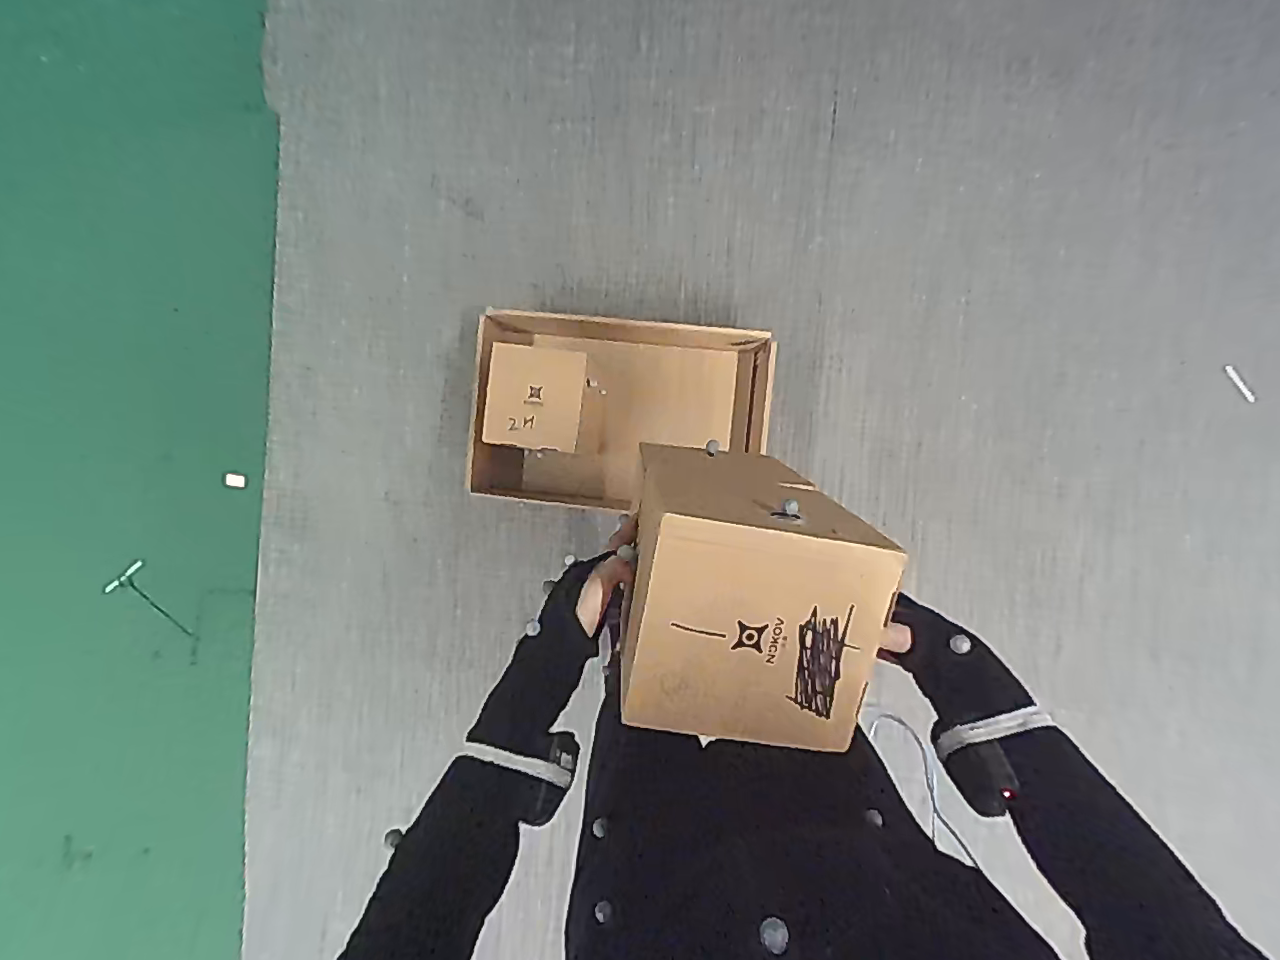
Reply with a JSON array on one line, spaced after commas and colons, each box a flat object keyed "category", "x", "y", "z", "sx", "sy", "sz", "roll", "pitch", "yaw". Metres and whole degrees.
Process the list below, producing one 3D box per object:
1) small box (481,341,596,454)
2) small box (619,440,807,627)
[{"category": "small box", "x": -0.181, "y": -0.146, "z": 1.012, "sx": 0.168, "sy": 0.176, "sz": 0.179, "roll": 8, "pitch": 92, "yaw": 3}, {"category": "small box", "x": 0.074, "y": 0.050, "z": 0.628, "sx": 0.179, "sy": 0.176, "sz": 0.168, "roll": 5, "pitch": 103, "yaw": 0}]
